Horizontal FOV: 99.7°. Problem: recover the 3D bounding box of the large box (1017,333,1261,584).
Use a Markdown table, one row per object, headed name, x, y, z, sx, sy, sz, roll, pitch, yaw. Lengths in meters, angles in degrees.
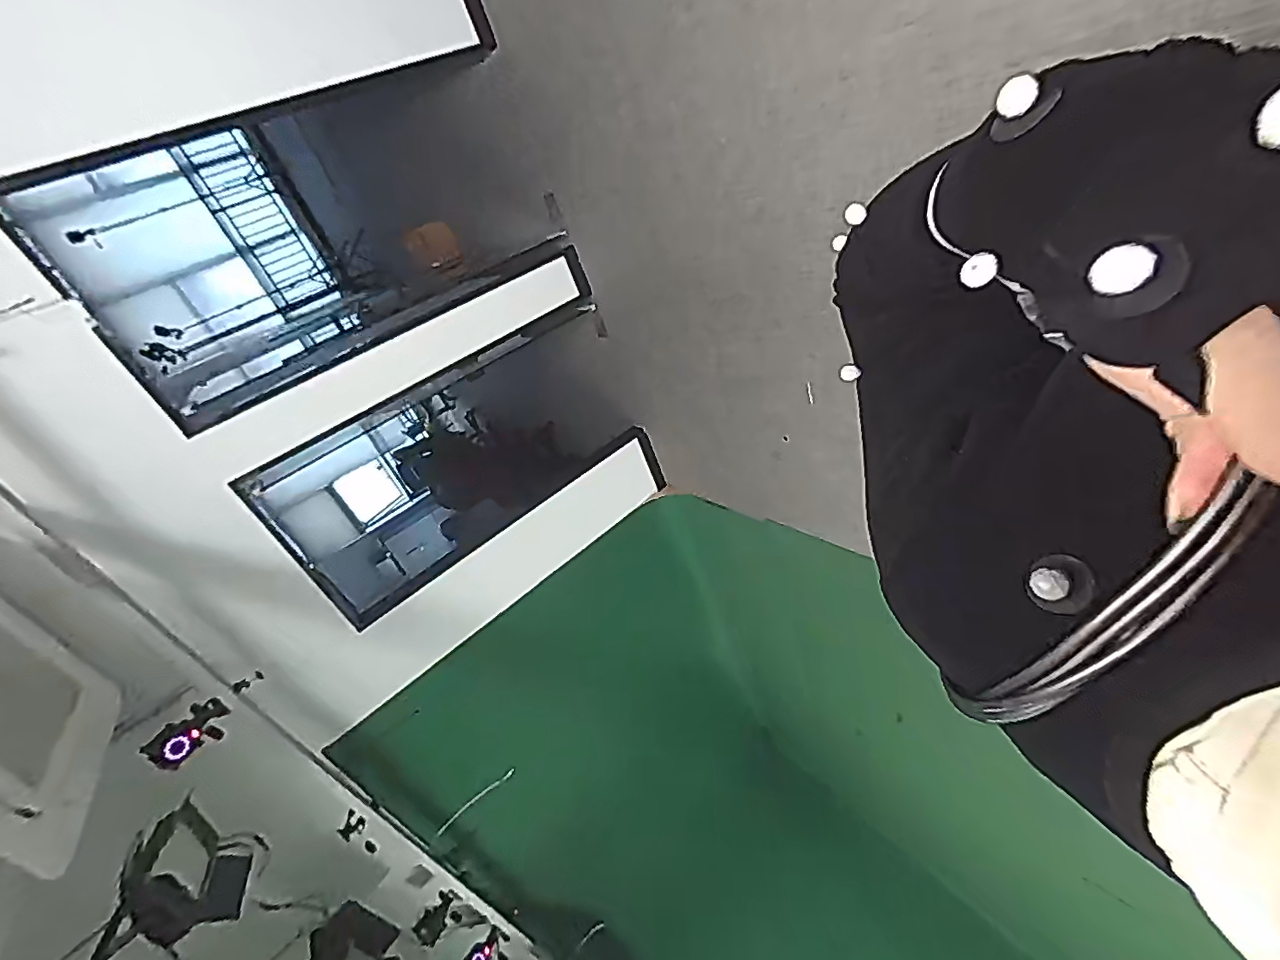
| name | x | y | z | sx | sy | sz | roll | pitch | yaw |
| --- | --- | --- | --- | --- | --- | --- | --- | --- | --- |
| large box | 1.073 | -0.059 | 1.170 | 0.320 | 0.320 | 0.408 | 15 | 137 | 54 |
